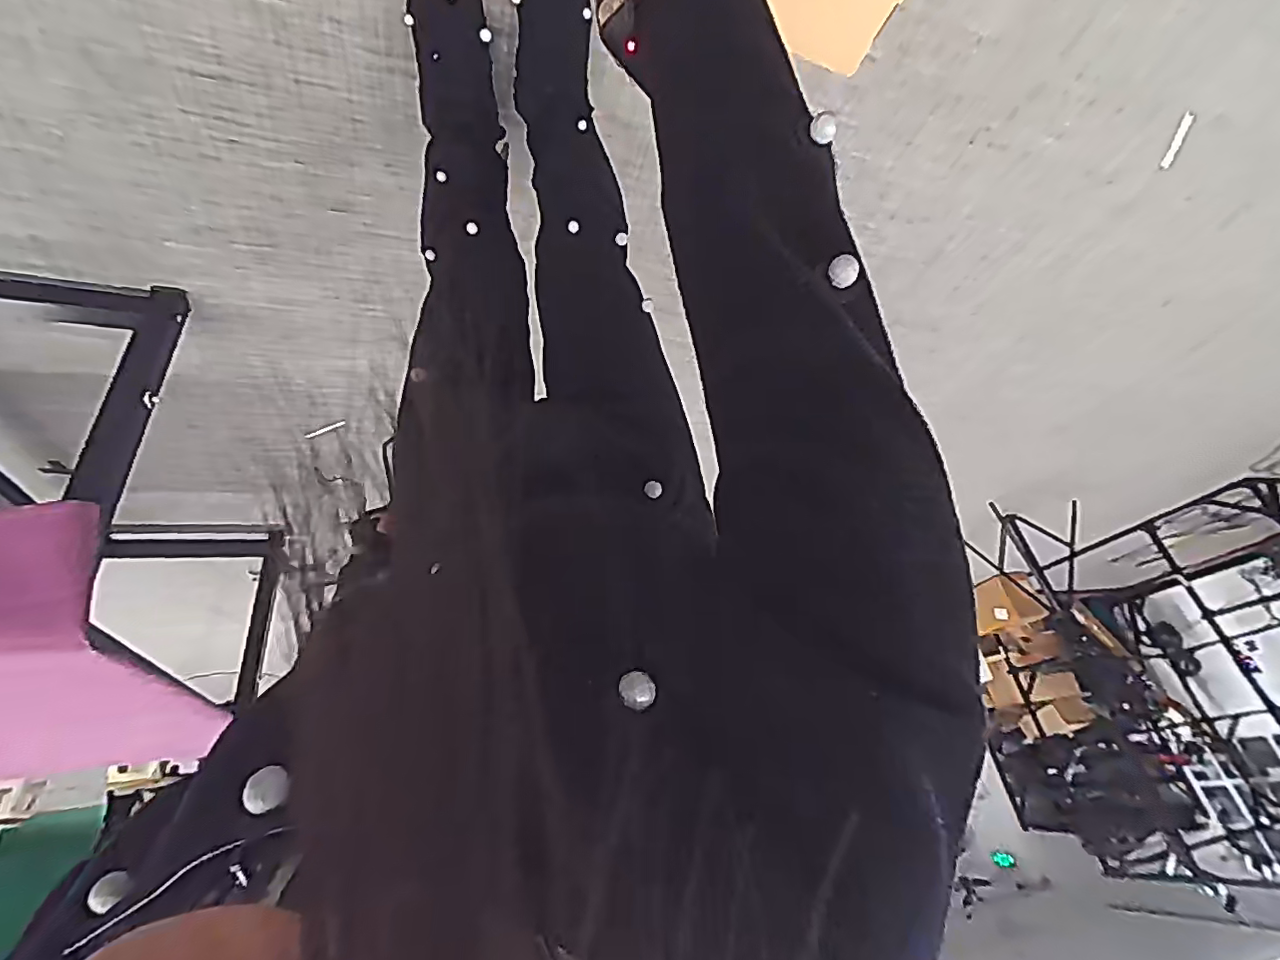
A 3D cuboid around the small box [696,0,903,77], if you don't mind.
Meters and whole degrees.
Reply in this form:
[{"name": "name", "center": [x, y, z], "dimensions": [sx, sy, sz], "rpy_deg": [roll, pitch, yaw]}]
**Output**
[{"name": "small box", "center": [0.140, -0.491, 0.447], "dimensions": [0.179, 0.176, 0.168], "rpy_deg": [3, 149, -25]}]
